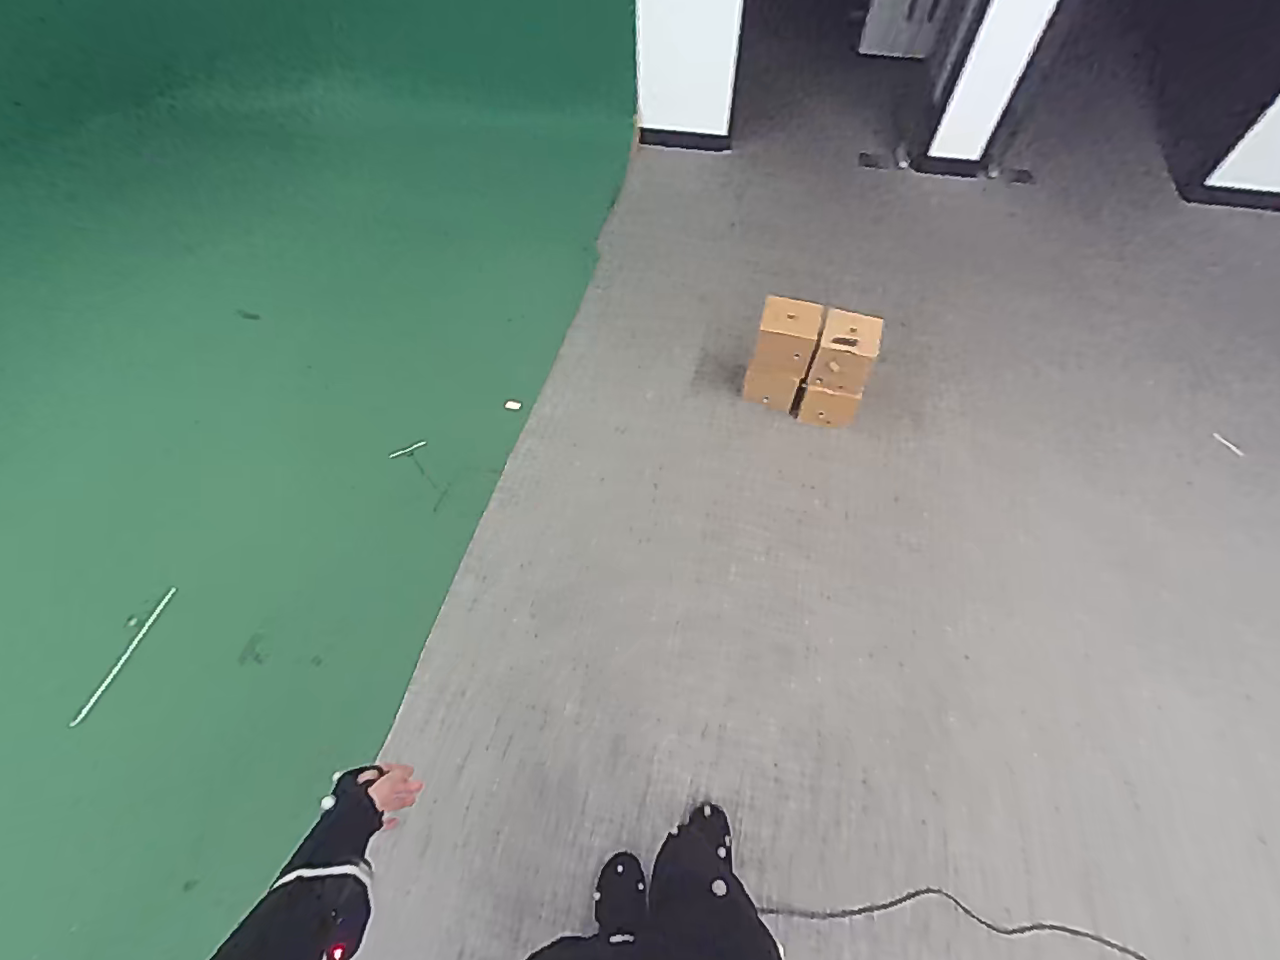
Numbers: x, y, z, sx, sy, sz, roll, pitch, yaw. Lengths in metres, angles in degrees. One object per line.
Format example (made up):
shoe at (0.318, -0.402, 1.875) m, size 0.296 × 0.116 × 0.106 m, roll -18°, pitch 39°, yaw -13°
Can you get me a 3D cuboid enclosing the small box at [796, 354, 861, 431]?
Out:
small box at (0.630, -0.292, 1.818) m, size 0.168 × 0.176 × 0.179 m, roll 11°, pitch 60°, yaw 8°
